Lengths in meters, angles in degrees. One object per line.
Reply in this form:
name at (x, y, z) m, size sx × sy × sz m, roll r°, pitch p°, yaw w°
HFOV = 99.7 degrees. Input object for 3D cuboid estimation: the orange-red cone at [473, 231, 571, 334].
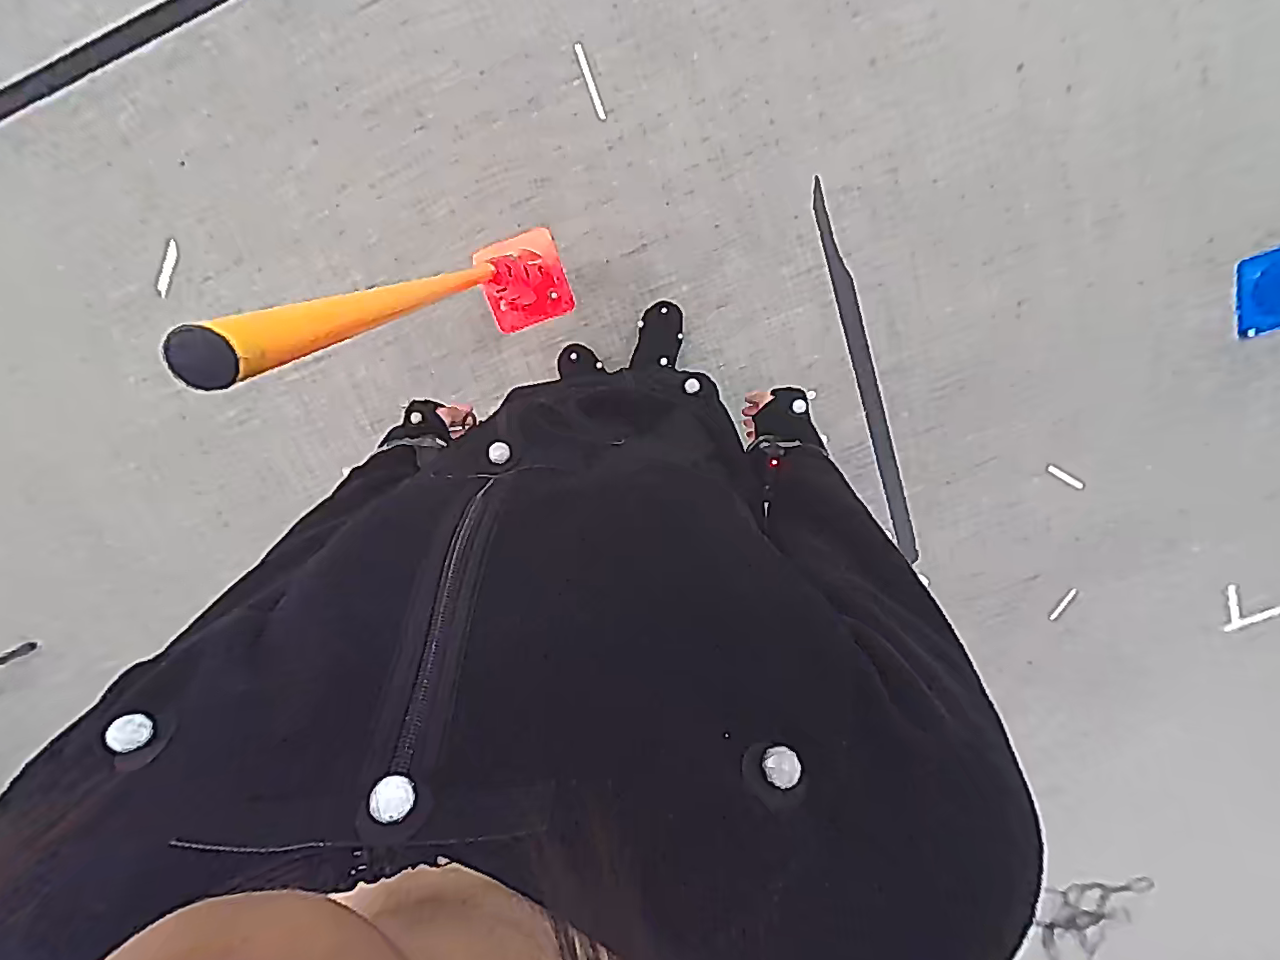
orange-red cone at (-0.278, -0.417, 1.120) m, size 0.198 × 0.360 × 0.199 m, roll -17°, pitch 106°, yaw 4°

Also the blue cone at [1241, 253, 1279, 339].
blue cone at (1.568, -0.412, 1.164) m, size 0.193 × 0.380 × 0.192 m, roll -17°, pitch 107°, yaw 5°
